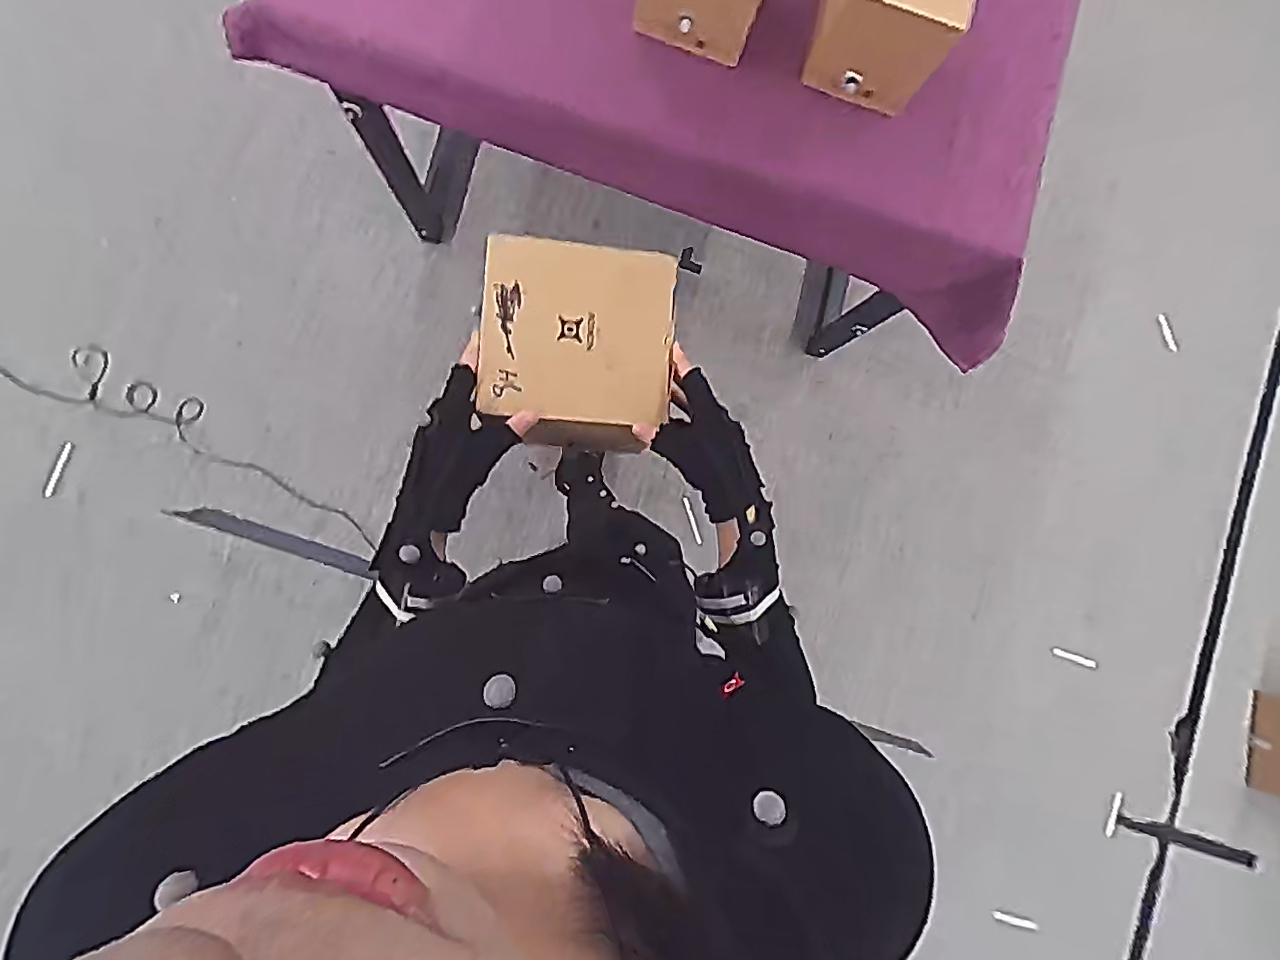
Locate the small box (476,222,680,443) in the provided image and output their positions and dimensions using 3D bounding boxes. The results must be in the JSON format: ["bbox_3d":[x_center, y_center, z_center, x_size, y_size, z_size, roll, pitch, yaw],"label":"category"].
[{"bbox_3d":[-0.066,-0.134,0.561,0.179,0.176,0.168,4,84,-10],"label":"small box"}]

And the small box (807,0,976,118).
[{"bbox_3d":[0.362,-0.681,0.784,0.168,0.176,0.179,14,87,-5],"label":"small box"}]

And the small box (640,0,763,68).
[{"bbox_3d":[0.104,-0.741,0.754,0.168,0.176,0.179,16,86,-5],"label":"small box"}]
